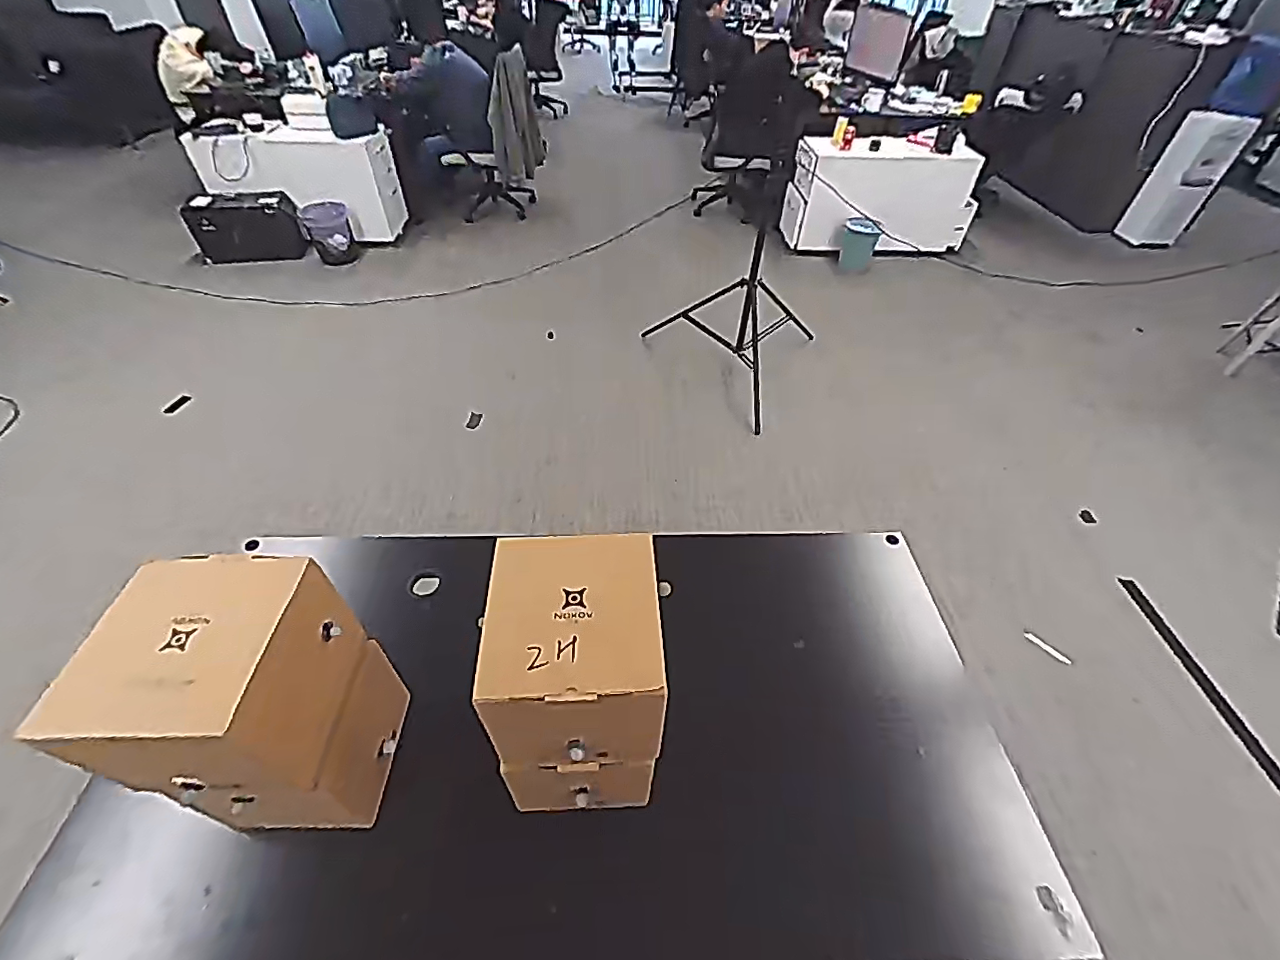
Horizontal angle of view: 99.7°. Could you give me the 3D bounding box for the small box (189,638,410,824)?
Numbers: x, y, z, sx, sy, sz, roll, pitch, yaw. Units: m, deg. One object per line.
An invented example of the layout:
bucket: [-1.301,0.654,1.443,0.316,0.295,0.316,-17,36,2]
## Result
small box: [-0.410,0.308,0.662,0.179,0.176,0.168,1,45,-2]

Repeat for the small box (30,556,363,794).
small box: [-0.407,0.195,0.545,0.168,0.176,0.179,-1,46,-2]

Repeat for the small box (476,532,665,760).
small box: [-0.066,0.175,0.577,0.168,0.176,0.179,-2,45,-3]

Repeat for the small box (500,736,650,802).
small box: [-0.073,0.296,0.691,0.168,0.176,0.179,-1,46,-3]
